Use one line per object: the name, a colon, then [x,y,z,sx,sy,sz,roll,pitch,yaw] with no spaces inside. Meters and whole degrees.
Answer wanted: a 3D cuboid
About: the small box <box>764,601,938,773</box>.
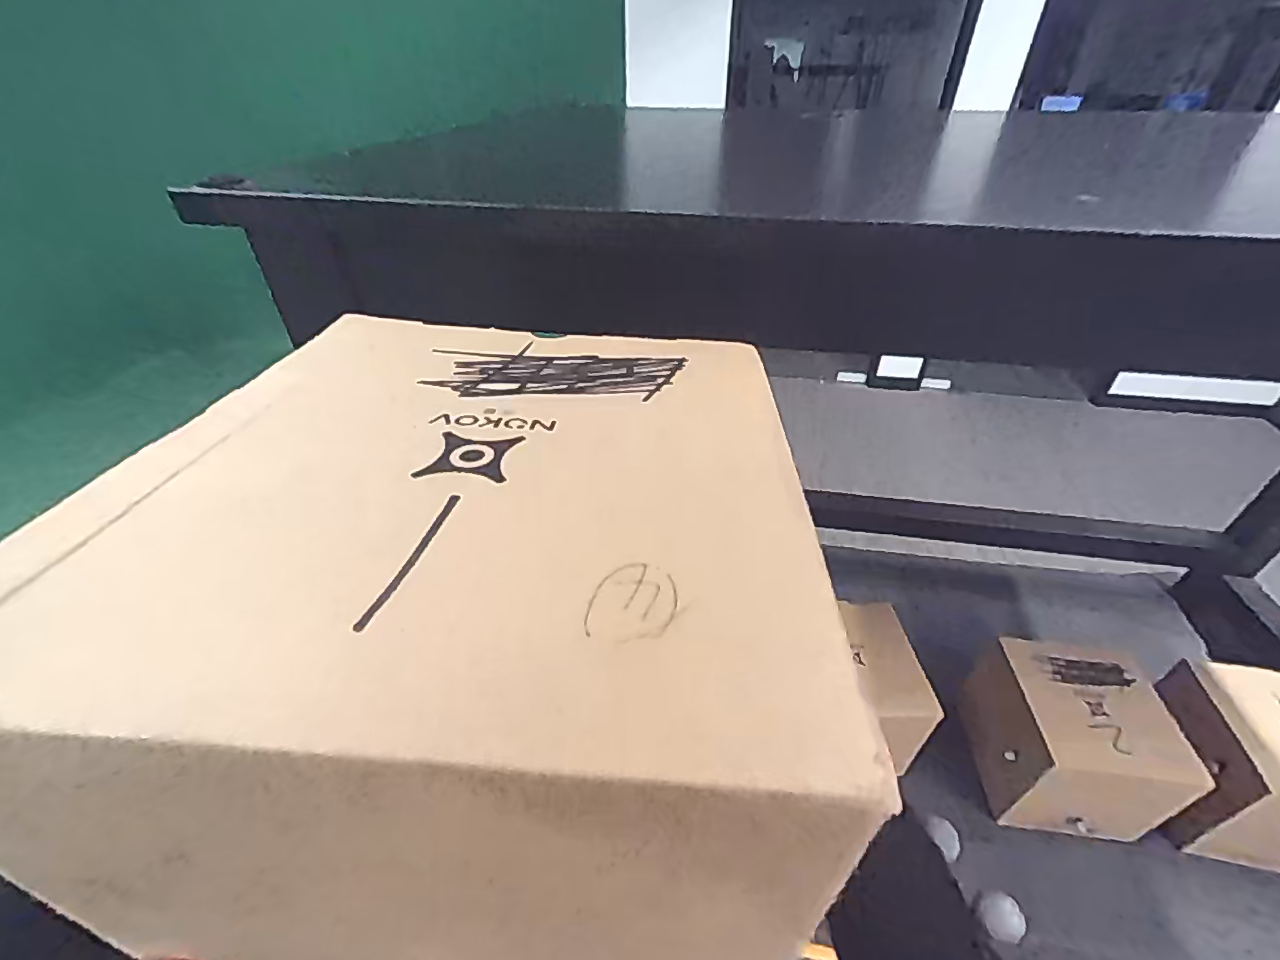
small box: [0.281,0.295,0.767,0.168,0.176,0.179,-1,38,-1]
